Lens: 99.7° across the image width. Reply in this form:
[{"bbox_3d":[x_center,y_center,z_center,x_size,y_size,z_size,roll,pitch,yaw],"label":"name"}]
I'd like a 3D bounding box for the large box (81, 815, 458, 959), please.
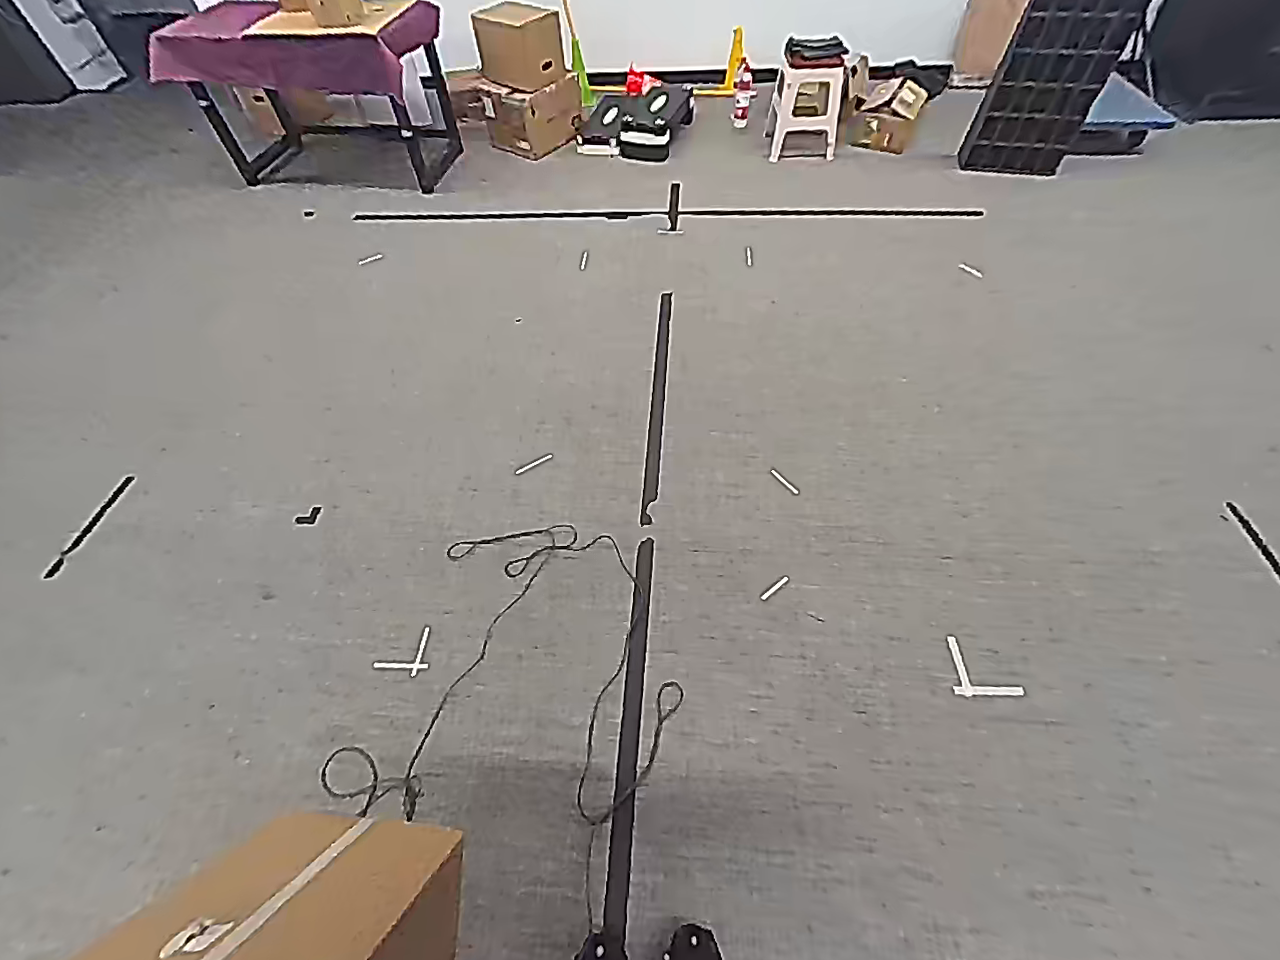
[{"bbox_3d":[-0.466,0.696,0.672,0.320,0.408,0.320,2,85,7],"label":"large box"}]
